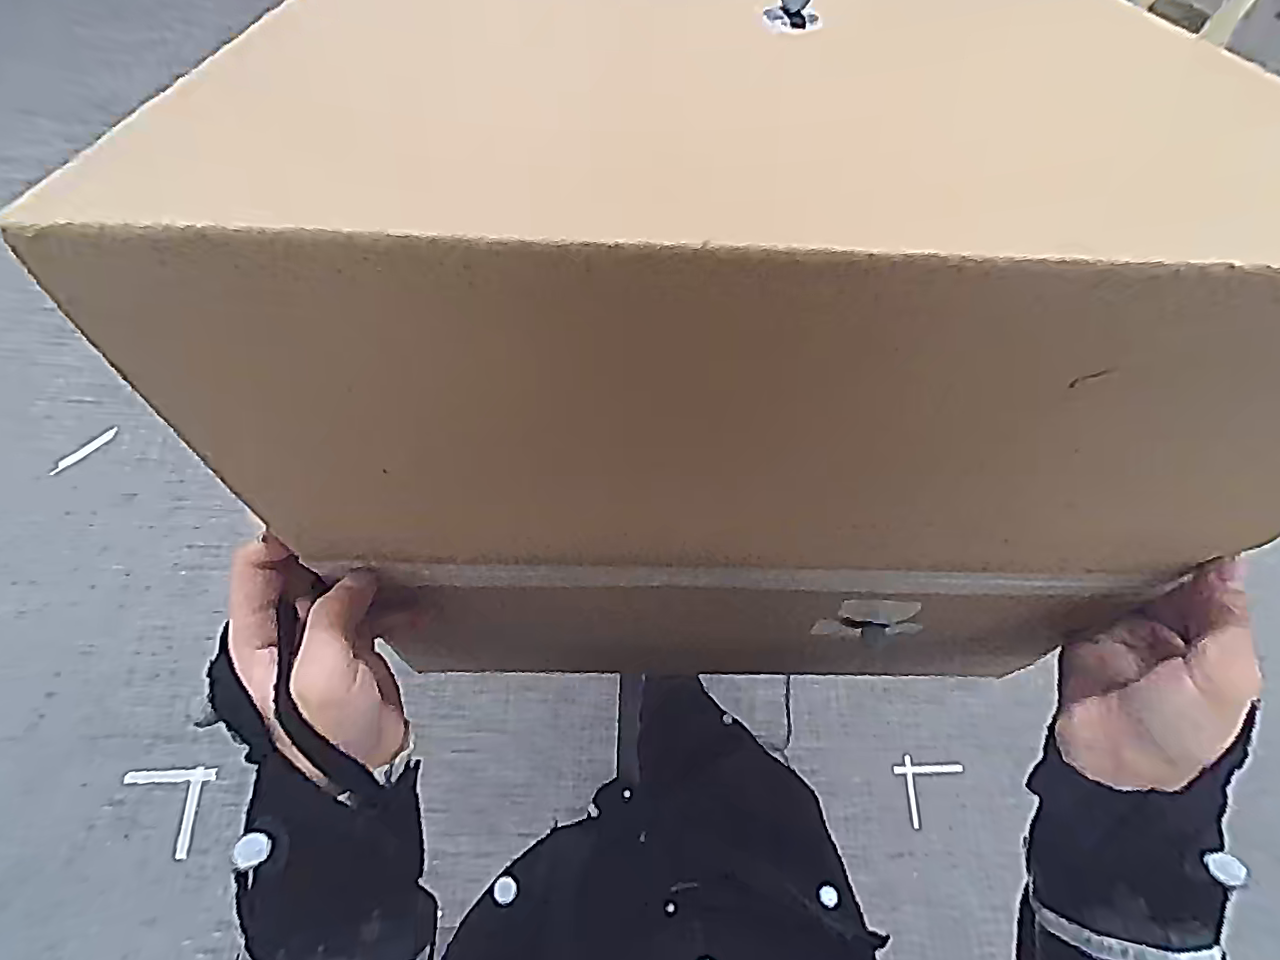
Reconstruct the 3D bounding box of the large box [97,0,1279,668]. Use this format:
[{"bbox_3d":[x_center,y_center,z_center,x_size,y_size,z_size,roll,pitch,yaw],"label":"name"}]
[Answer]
[{"bbox_3d":[0.048,-0.083,0.349,0.408,0.320,0.320,0,54,-2],"label":"large box"}]
